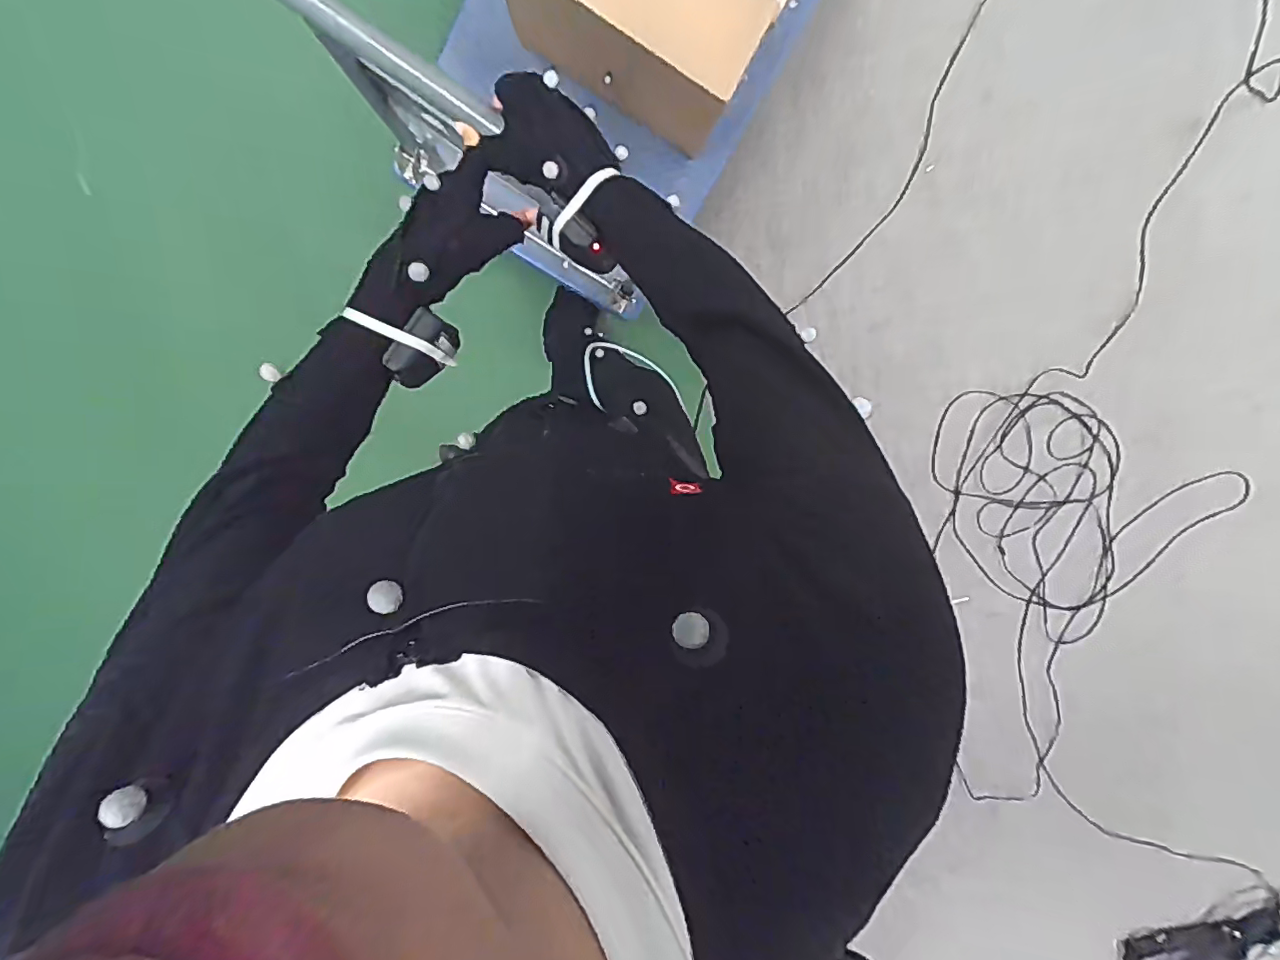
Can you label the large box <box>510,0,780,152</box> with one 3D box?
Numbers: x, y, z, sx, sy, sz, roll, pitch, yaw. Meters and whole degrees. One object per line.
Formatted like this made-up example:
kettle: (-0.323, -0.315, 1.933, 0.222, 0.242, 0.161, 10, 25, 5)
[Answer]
large box: (0.025, -0.843, 0.909, 0.408, 0.320, 0.320, 27, 102, -11)
